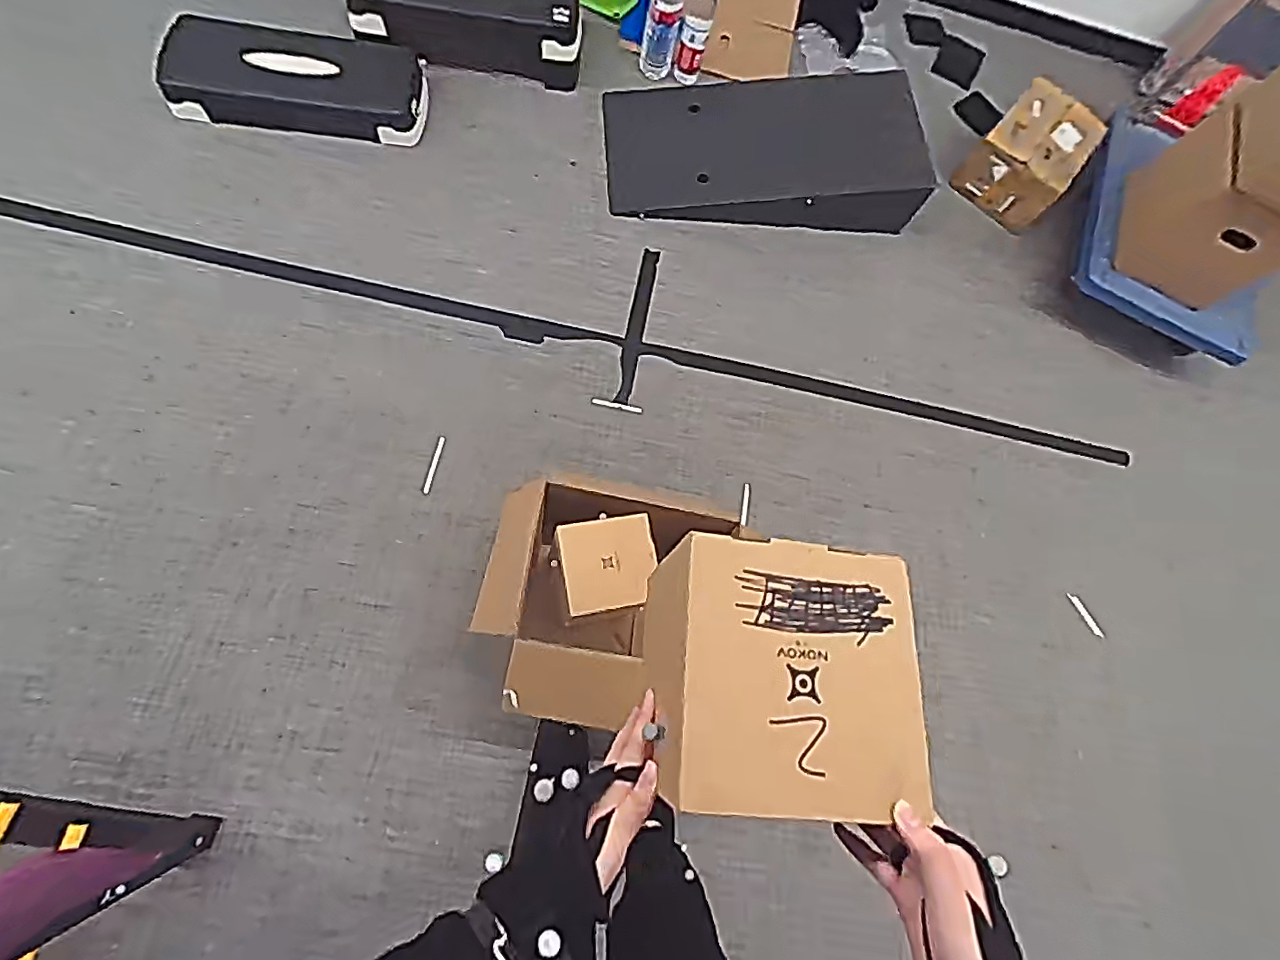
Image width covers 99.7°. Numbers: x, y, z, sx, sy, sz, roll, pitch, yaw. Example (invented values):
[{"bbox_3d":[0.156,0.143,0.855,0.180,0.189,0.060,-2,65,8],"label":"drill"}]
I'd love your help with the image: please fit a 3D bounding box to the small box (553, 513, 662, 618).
[{"bbox_3d":[-0.073,0.172,1.063,0.179,0.176,0.168,-8,76,-16],"label":"small box"}]
